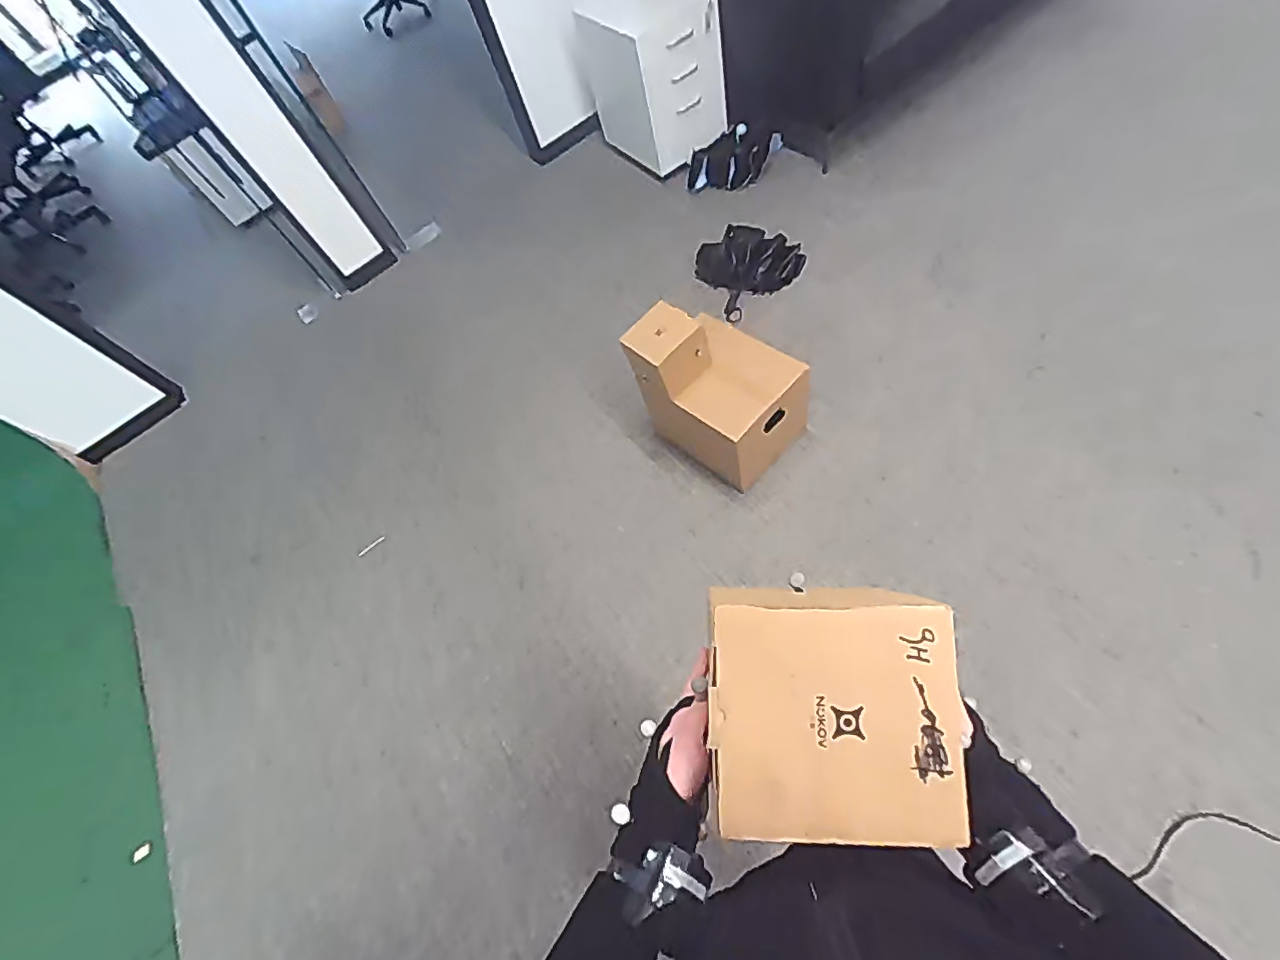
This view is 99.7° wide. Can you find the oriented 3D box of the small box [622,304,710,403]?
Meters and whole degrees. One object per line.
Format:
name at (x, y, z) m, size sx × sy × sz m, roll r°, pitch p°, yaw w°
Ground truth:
small box at (0.083, -0.356, 1.535) m, size 0.179 × 0.176 × 0.168 m, roll -45°, pitch 59°, yaw -7°
